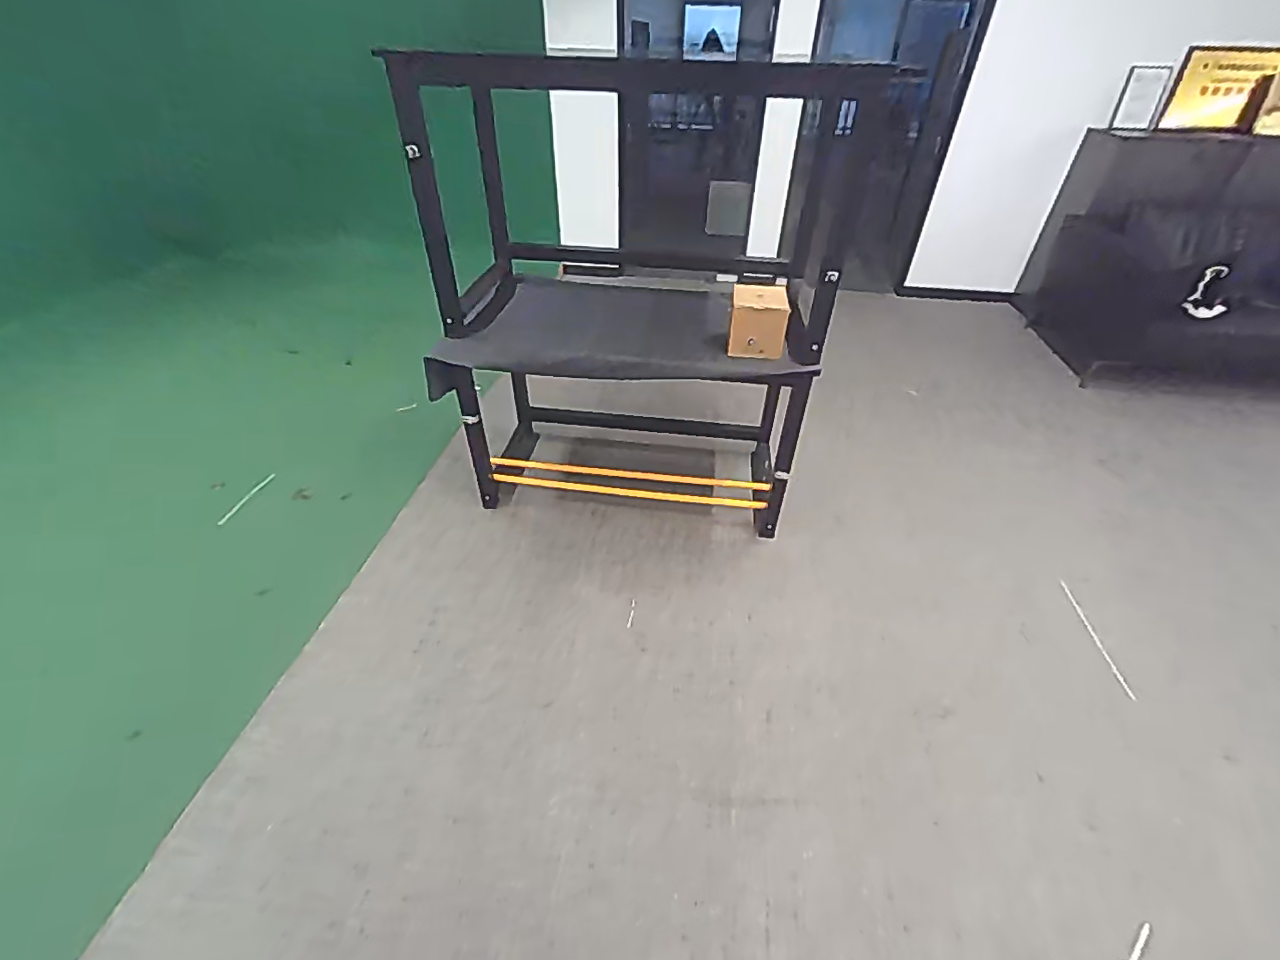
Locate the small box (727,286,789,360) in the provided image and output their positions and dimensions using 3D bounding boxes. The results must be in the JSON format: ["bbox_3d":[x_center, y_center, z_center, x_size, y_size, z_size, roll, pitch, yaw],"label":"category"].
[{"bbox_3d":[0.366,-0.496,1.703,0.168,0.176,0.179,5,39,6],"label":"small box"}]
